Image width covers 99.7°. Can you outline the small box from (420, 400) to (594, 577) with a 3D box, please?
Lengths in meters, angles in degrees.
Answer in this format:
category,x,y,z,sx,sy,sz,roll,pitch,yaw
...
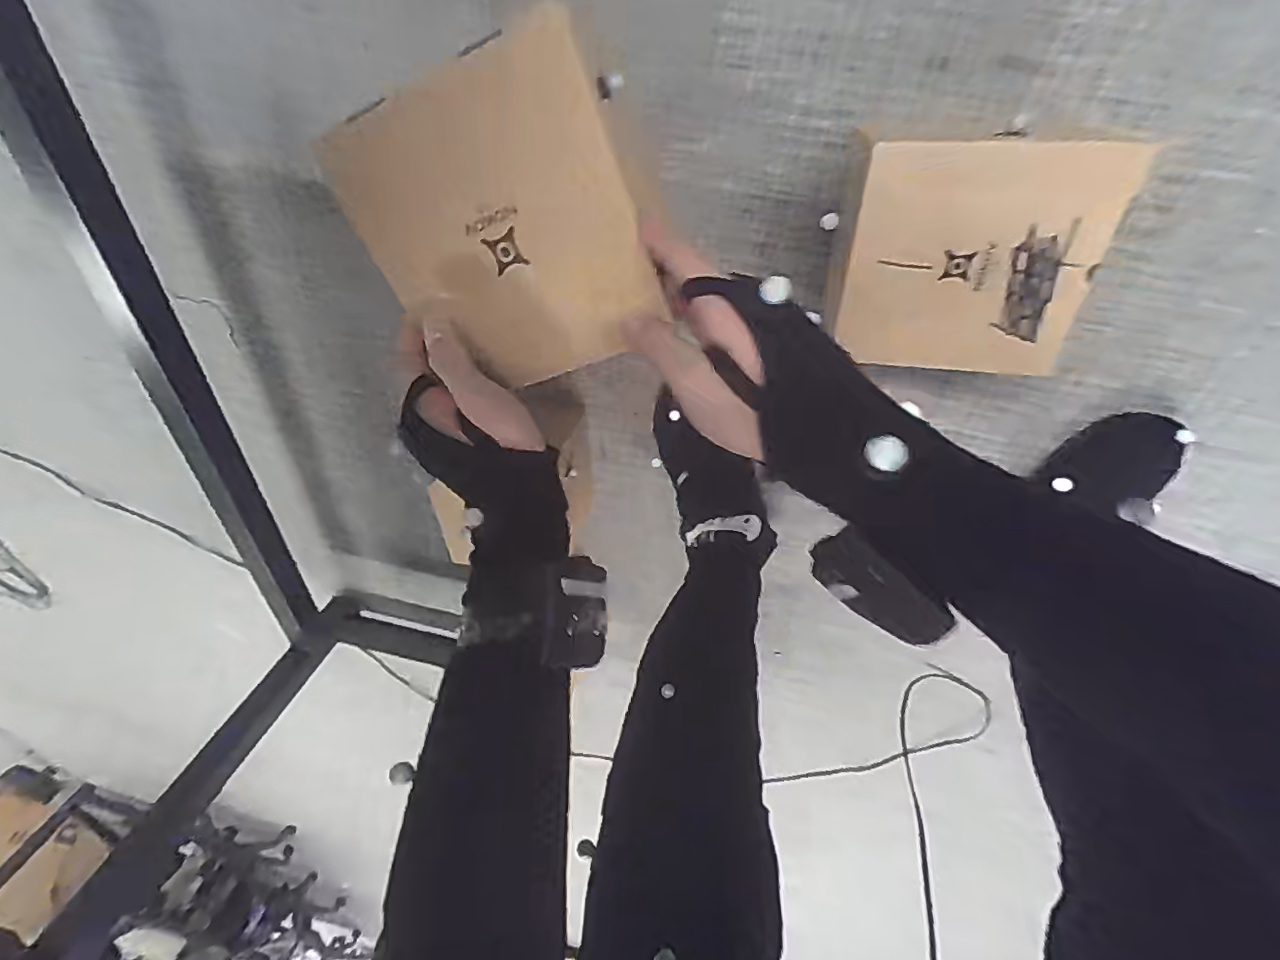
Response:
category,x,y,z,sx,sy,sz,roll,pitch,yaw
small box,-0.169,0.004,0.754,0.168,0.176,0.179,8,128,12

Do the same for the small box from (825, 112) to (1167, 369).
category,x,y,z,sx,sy,sz,roll,pitch,yaw
small box,0.266,-0.212,0.464,0.179,0.176,0.168,8,128,11

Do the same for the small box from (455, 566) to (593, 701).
category,x,y,z,sx,sy,sz,roll,pitch,yaw
small box,-0.188,0.255,0.947,0.179,0.176,0.168,5,127,13
